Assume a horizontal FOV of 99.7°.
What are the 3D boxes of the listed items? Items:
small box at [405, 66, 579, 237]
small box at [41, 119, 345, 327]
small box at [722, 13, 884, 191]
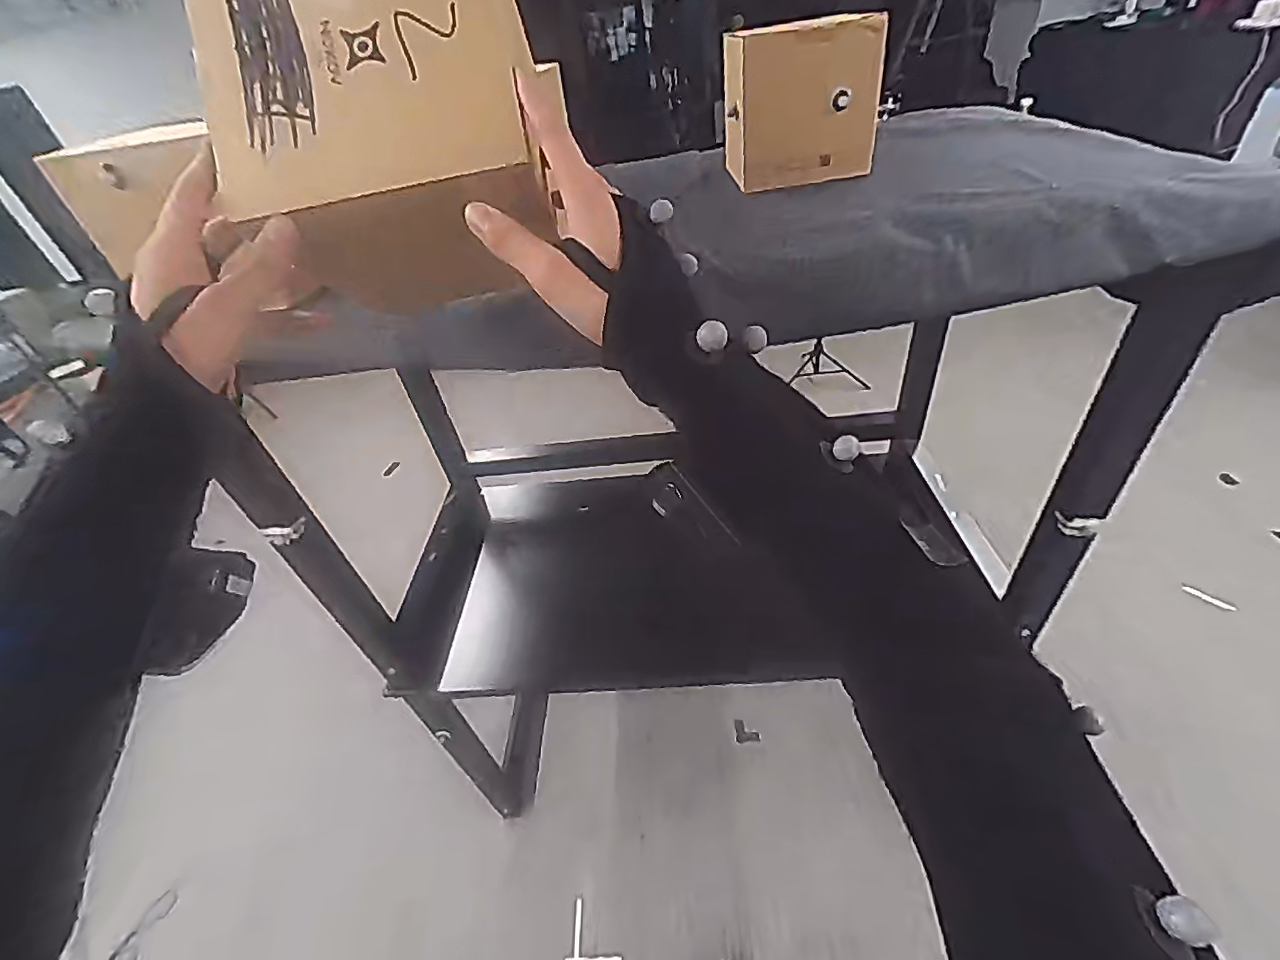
[{"bbox_3d":[-0.192,-0.464,0.767,0.179,0.176,0.168,-5,40,7],"label":"small box"},{"bbox_3d":[-0.470,-0.291,0.612,0.168,0.176,0.179,-7,39,4],"label":"small box"},{"bbox_3d":[0.206,-0.501,0.726,0.168,0.176,0.179,-6,40,4],"label":"small box"}]
